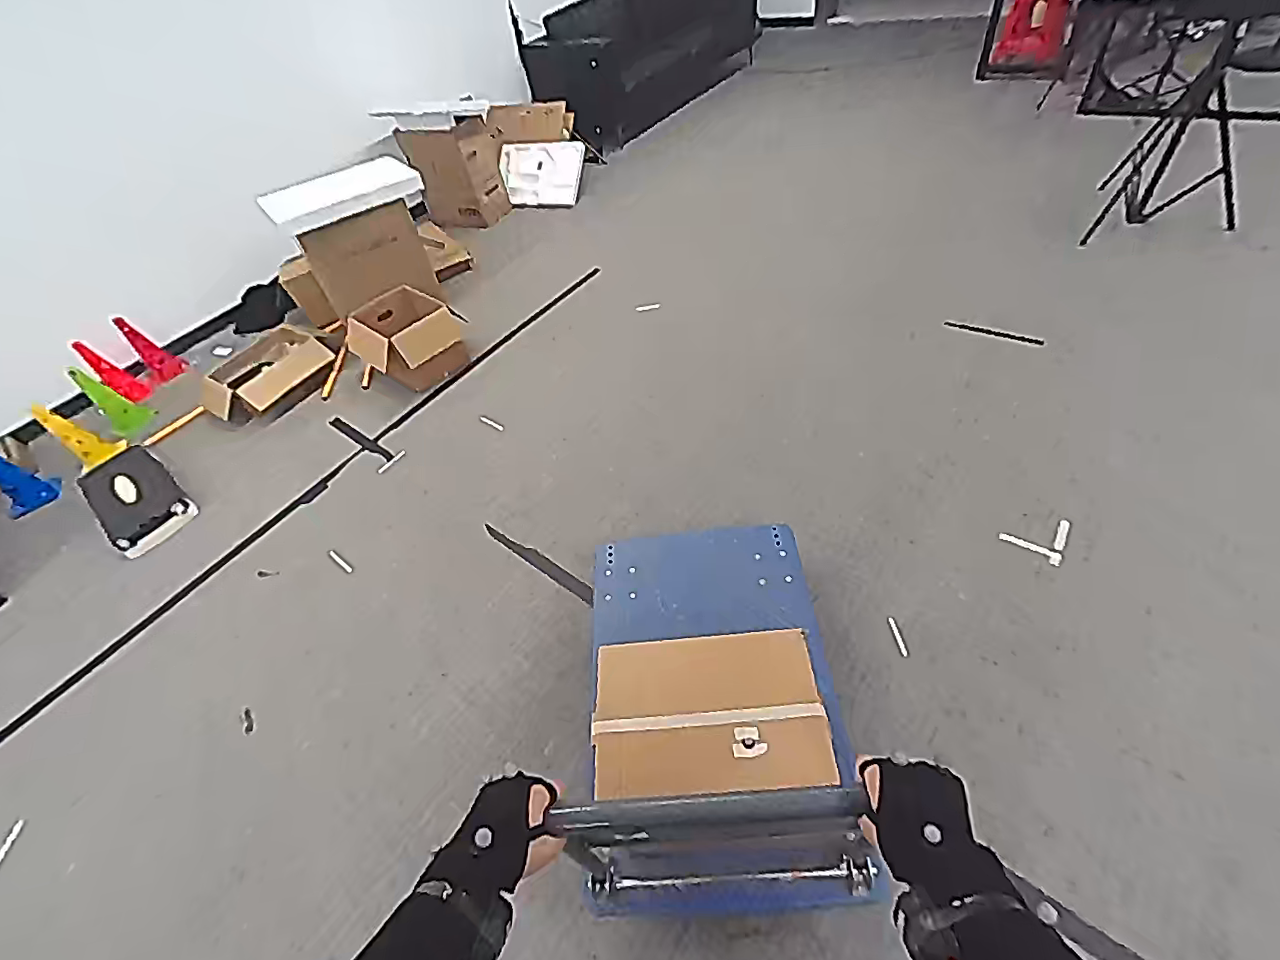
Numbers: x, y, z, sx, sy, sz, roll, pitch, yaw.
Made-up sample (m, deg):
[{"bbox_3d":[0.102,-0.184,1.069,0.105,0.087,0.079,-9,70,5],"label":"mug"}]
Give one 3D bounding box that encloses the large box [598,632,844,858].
[{"bbox_3d":[0.139,0.530,1.069,0.408,0.320,0.320,-7,49,5],"label":"large box"}]
